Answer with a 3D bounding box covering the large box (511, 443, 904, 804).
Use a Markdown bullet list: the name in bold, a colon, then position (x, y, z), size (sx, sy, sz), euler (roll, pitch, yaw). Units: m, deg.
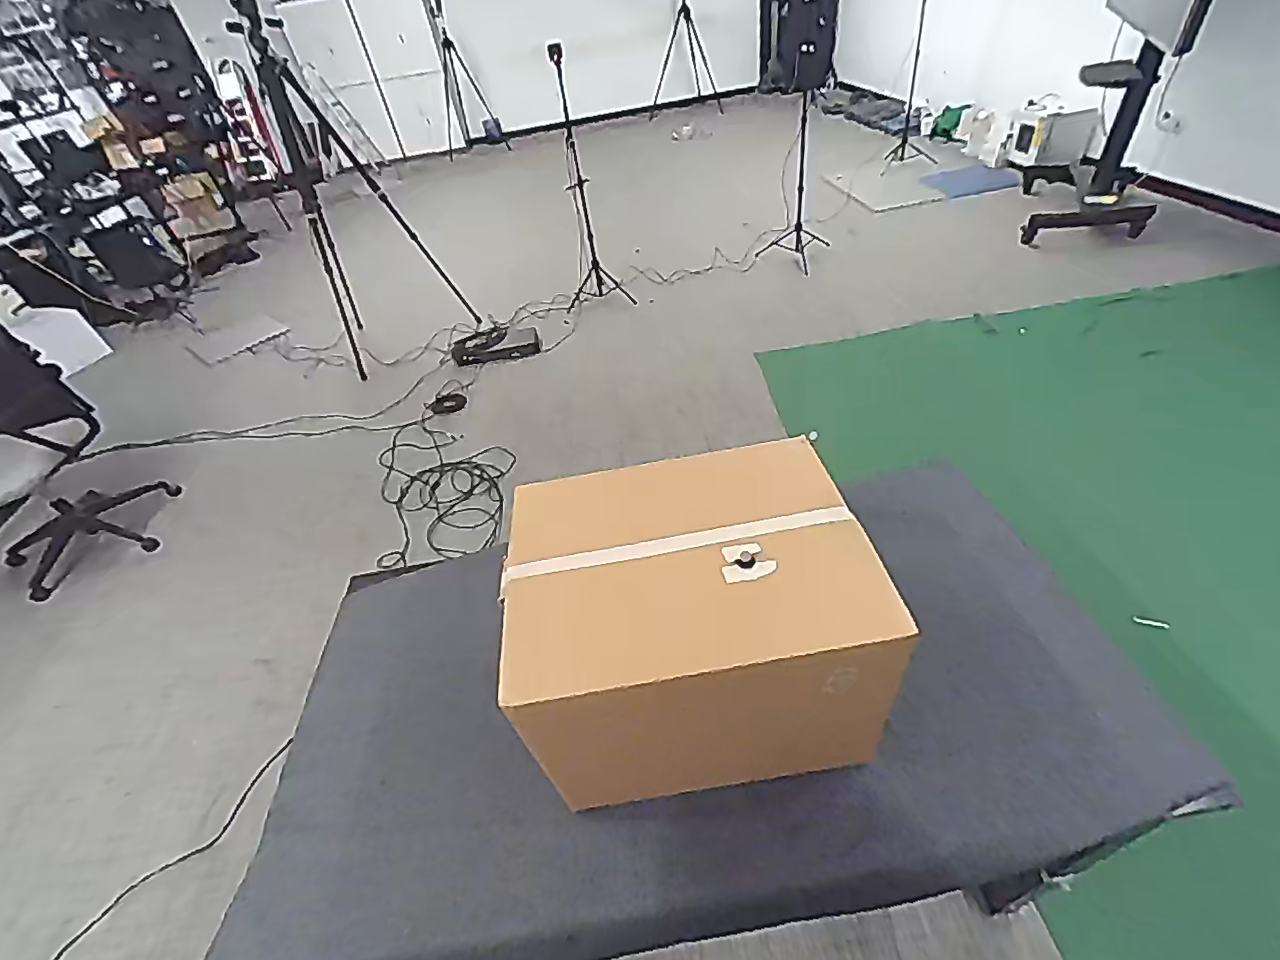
- **large box**: position (0.066, 0.192, 0.735), size (0.408, 0.320, 0.320), euler (-10, 43, 0)
